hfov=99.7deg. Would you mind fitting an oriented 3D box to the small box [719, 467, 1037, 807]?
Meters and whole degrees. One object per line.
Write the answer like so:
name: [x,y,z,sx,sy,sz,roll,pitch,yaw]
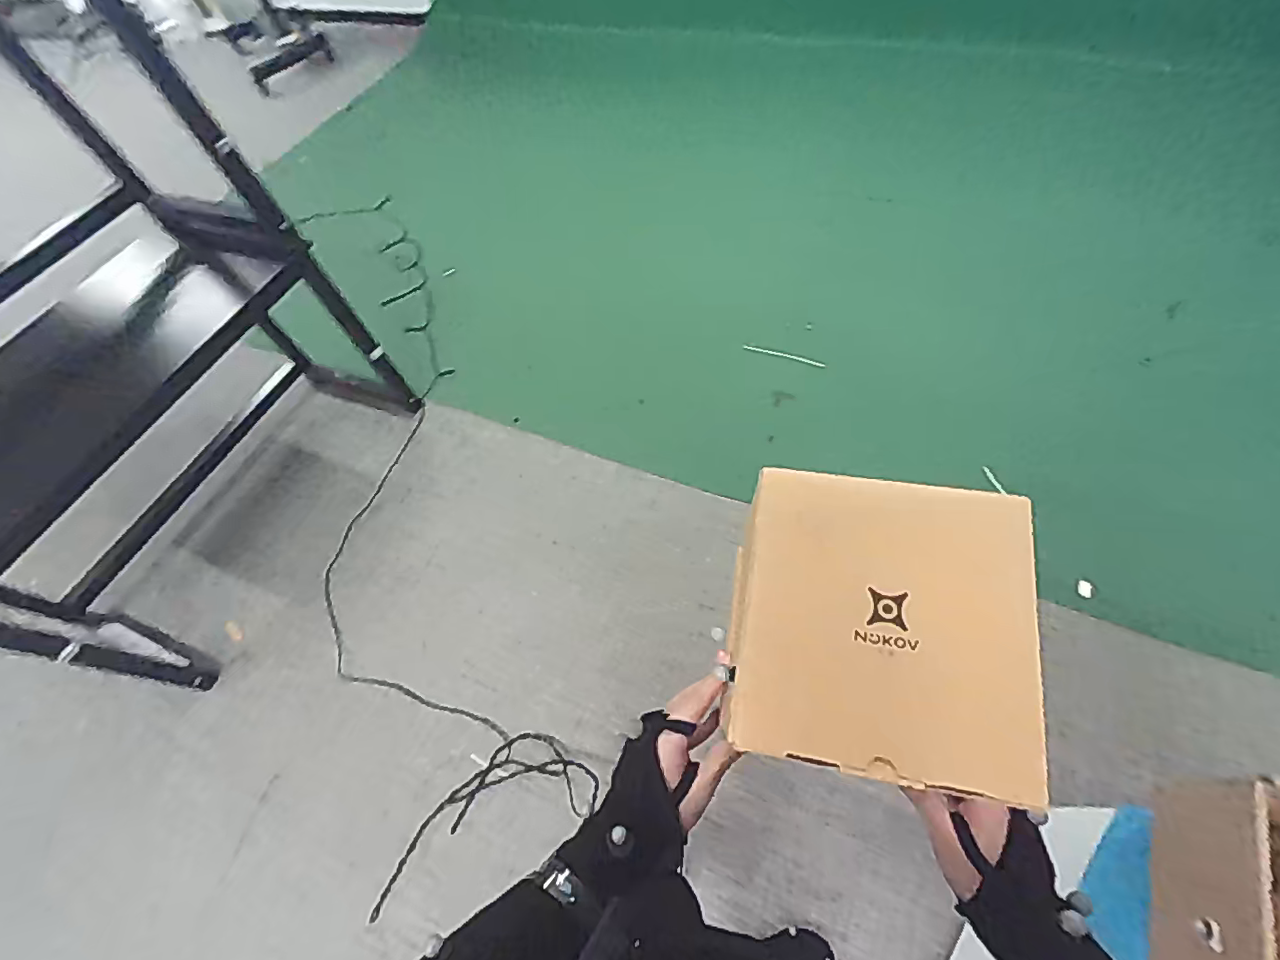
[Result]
small box: [0.149,0.109,0.396,0.168,0.176,0.179,6,71,10]
